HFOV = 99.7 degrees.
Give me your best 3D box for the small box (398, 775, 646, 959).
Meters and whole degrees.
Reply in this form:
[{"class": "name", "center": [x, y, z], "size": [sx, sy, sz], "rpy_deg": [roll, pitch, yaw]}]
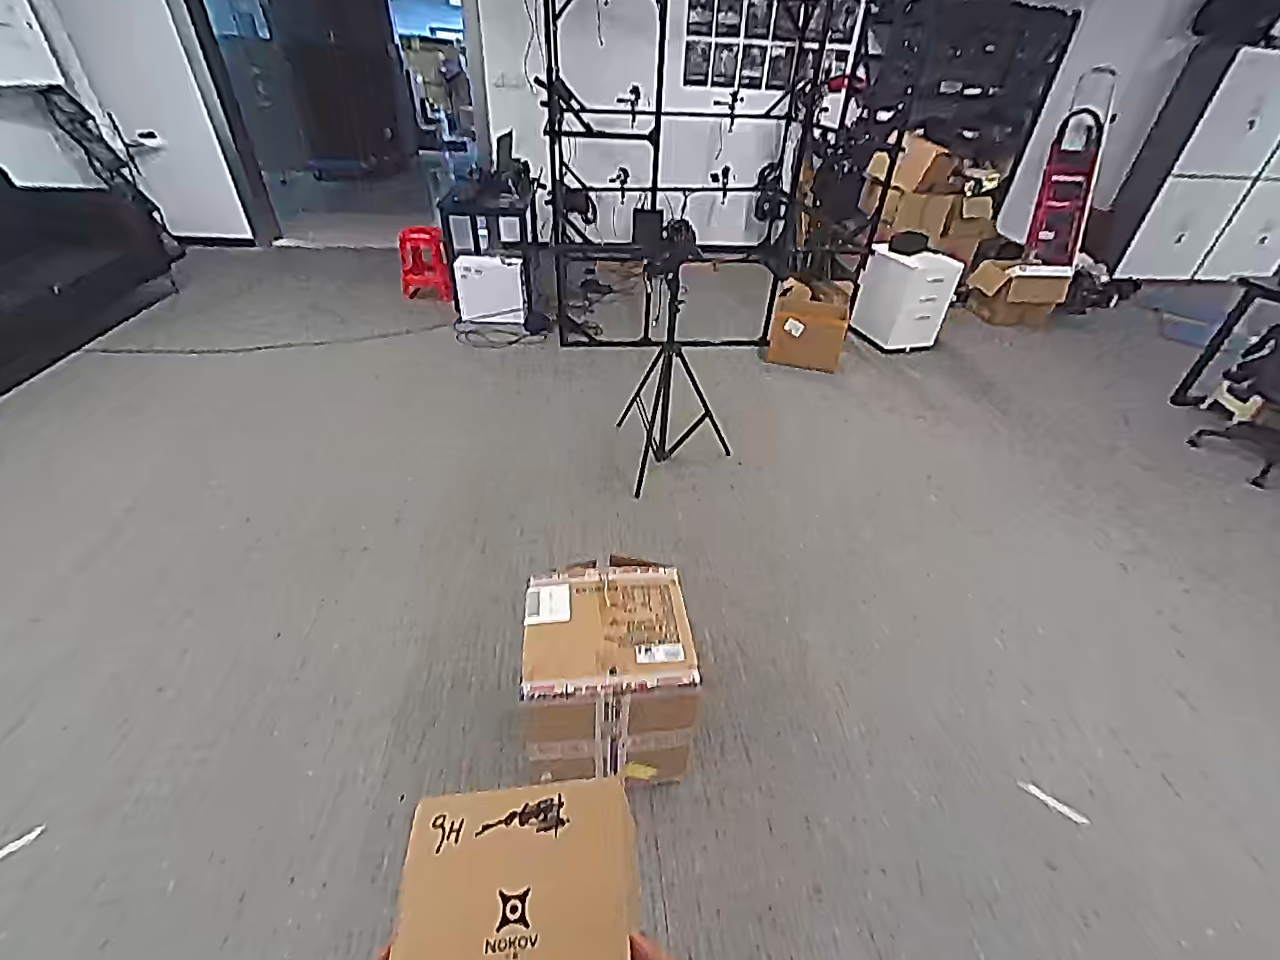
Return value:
[{"class": "small box", "center": [-0.082, 0.363, 0.440], "size": [0.168, 0.176, 0.179], "rpy_deg": [-5, 49, -2]}]
